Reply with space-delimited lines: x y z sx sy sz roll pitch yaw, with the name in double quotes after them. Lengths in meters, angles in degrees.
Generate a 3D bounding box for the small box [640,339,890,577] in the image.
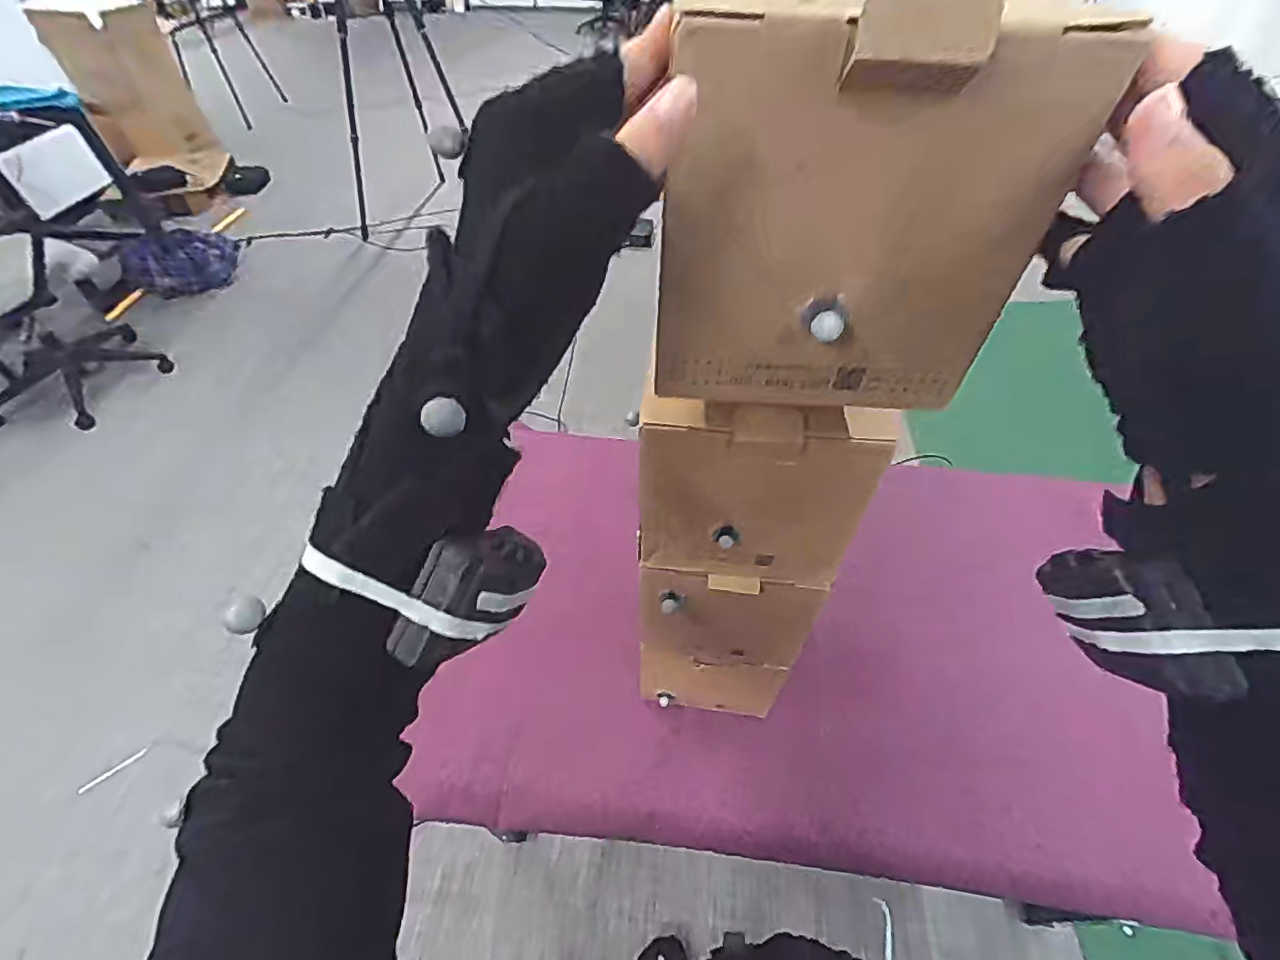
0.089 -0.040 0.467 0.168 0.176 0.179 4 49 4 "small box"

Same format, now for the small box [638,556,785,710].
0.094 0.182 0.709 0.168 0.176 0.179 6 49 6 "small box"

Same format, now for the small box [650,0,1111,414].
0.093 -0.160 0.313 0.168 0.176 0.179 3 46 2 "small box"
